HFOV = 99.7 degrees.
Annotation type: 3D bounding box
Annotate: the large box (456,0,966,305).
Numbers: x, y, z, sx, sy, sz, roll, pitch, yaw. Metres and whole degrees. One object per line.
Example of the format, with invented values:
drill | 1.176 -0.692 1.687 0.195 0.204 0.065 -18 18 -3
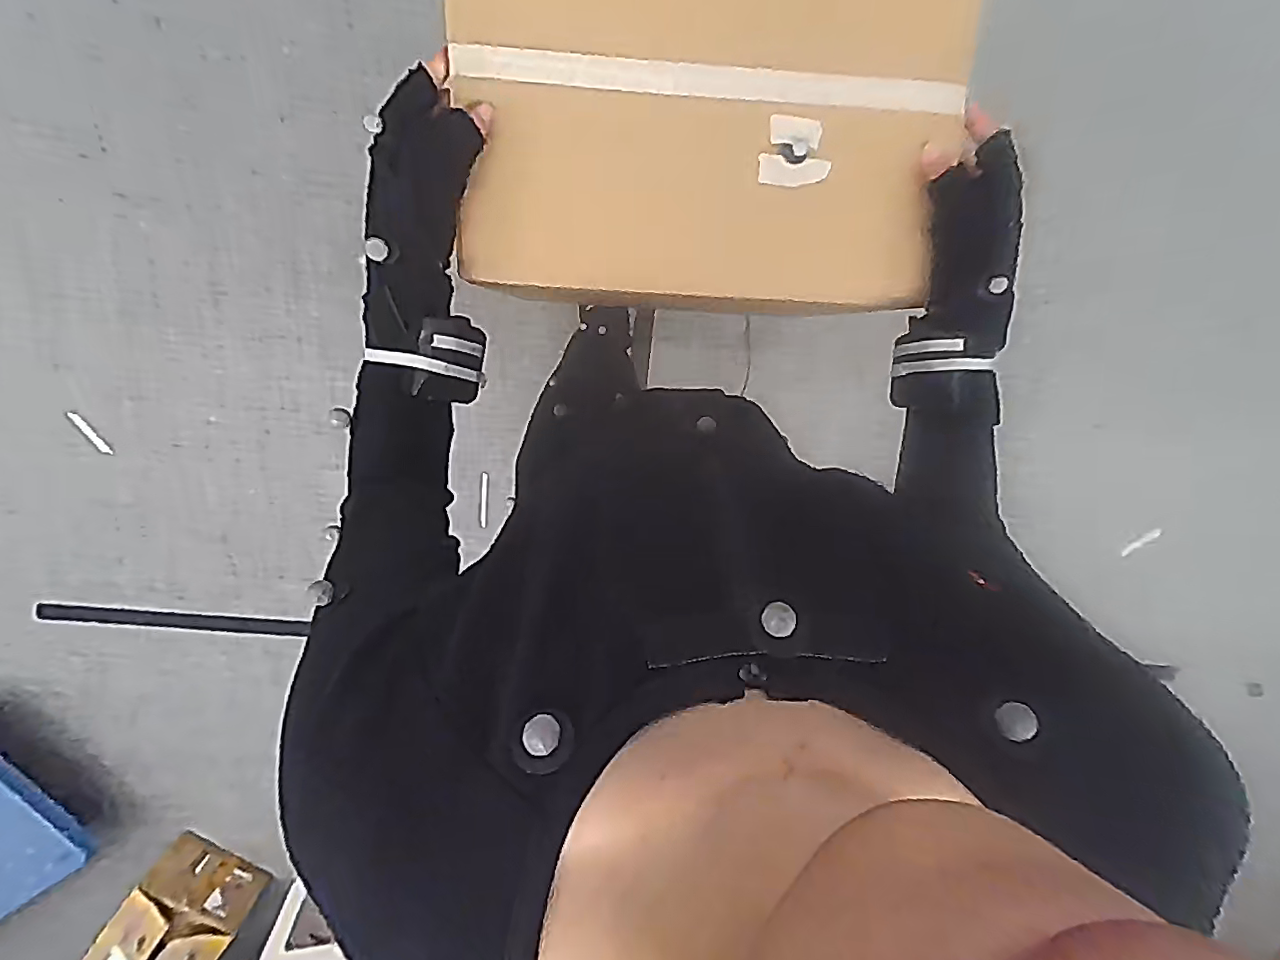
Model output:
large box | 0.046 -0.360 0.573 0.408 0.320 0.320 1 106 -5
